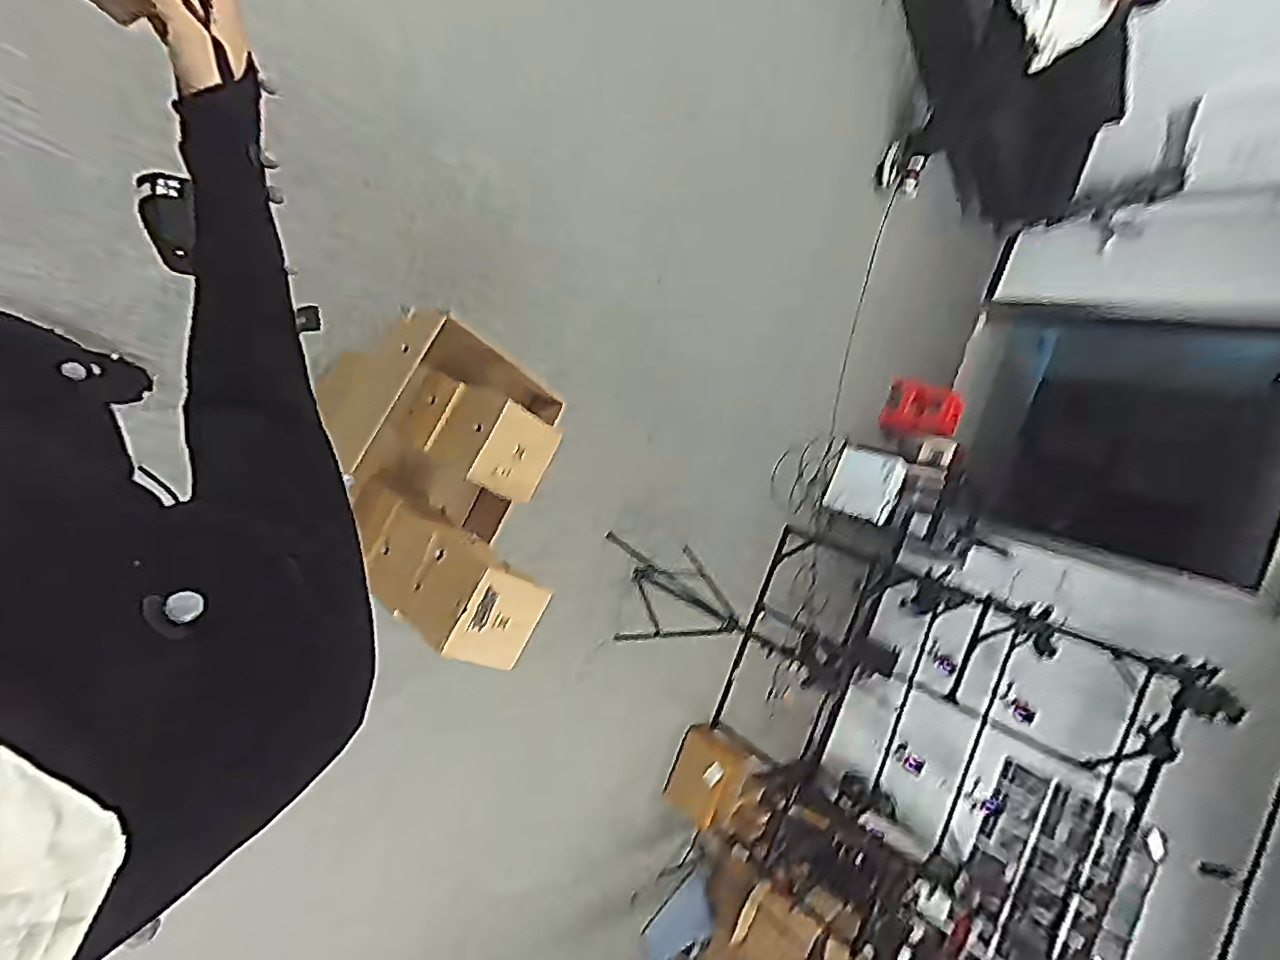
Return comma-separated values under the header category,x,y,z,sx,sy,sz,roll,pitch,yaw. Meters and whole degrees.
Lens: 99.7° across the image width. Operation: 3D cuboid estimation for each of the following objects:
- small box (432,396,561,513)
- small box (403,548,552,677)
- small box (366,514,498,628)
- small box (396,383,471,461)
category,x,y,z,sx,sy,sz,roll,pitch,yaw
small box,-0.308,-0.059,1.149,0.168,0.176,0.179,36,80,-48
small box,-0.307,0.243,1.016,0.179,0.176,0.168,38,77,-48
small box,-0.433,0.195,1.112,0.168,0.176,0.179,32,82,-49
small box,-0.426,-0.110,1.251,0.179,0.176,0.168,33,81,-49
